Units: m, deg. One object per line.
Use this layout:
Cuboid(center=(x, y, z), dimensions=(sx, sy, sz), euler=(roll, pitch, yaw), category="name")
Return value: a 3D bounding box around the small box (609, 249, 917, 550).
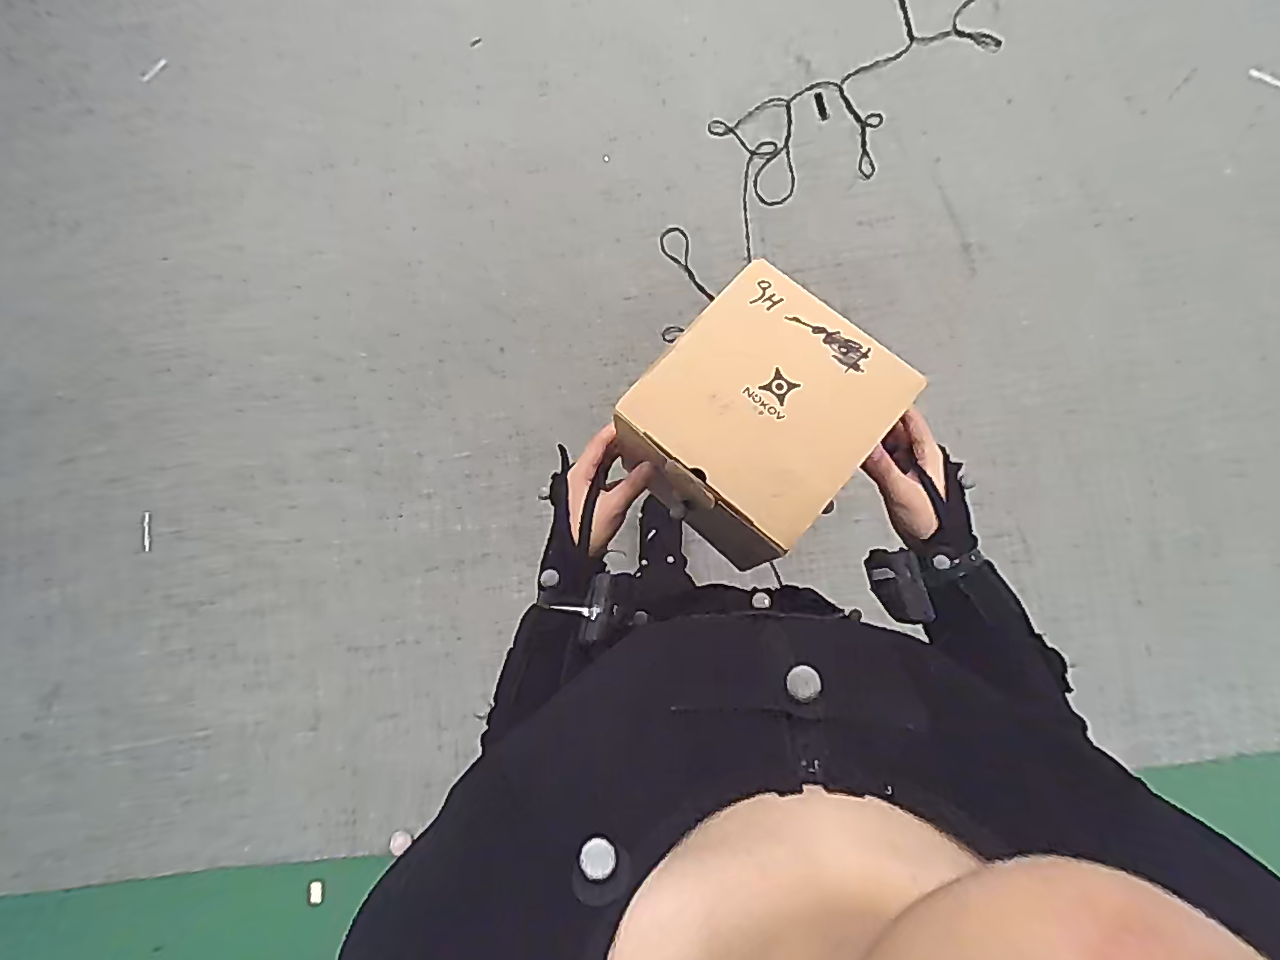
Cuboid(center=(0.096, -0.054, 0.483), dimensions=(0.168, 0.176, 0.179), euler=(40, 82, 9), category="small box")
